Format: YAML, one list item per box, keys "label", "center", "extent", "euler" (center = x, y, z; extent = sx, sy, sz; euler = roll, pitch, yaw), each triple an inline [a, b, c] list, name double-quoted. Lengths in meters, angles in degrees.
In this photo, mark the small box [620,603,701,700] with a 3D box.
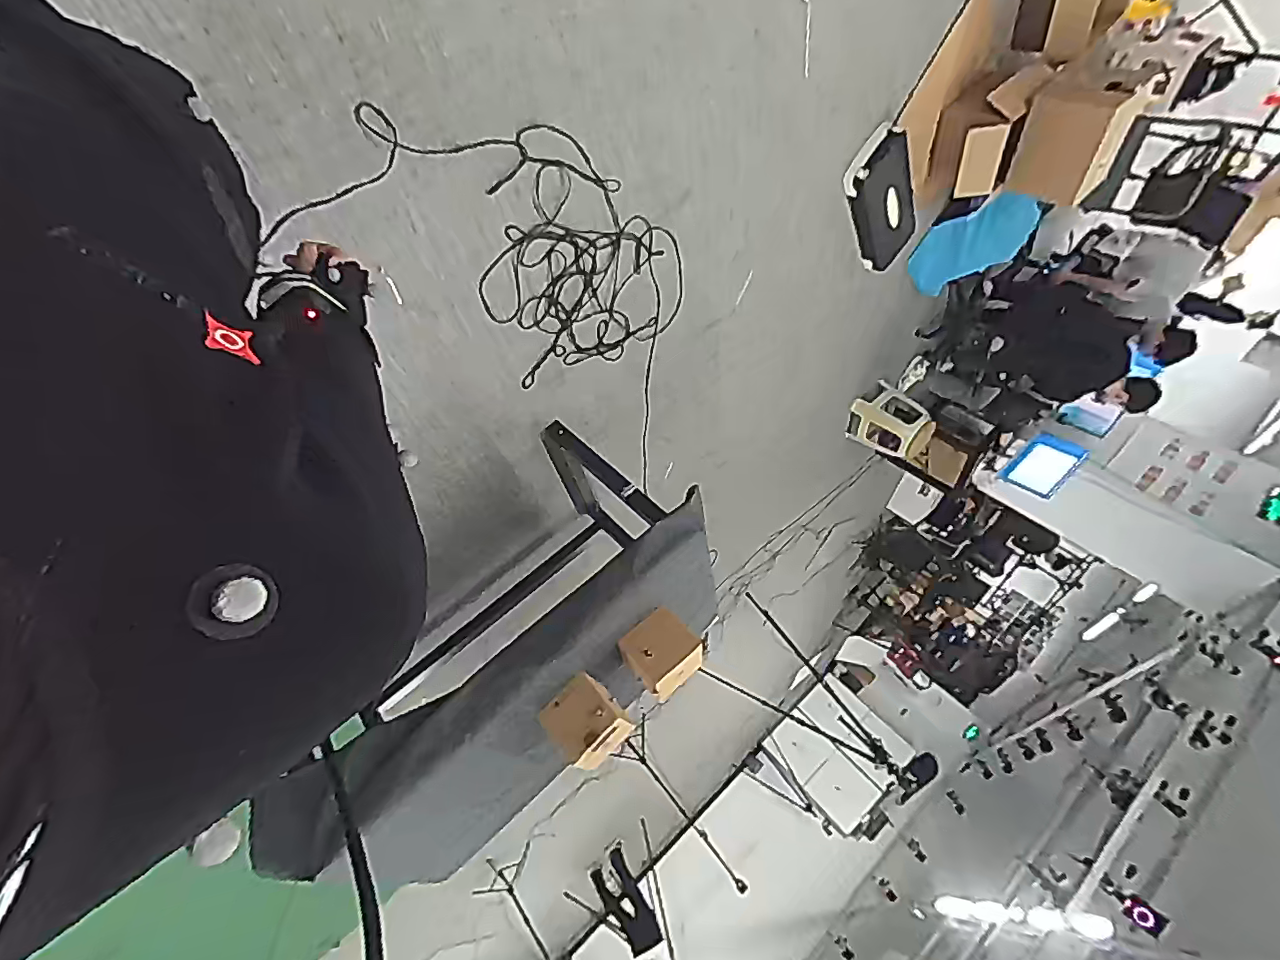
- label: "small box"
  center: [0.057, 0.497, 1.575]
  extent: [0.179, 0.176, 0.168]
  euler: [-37, 147, -21]
